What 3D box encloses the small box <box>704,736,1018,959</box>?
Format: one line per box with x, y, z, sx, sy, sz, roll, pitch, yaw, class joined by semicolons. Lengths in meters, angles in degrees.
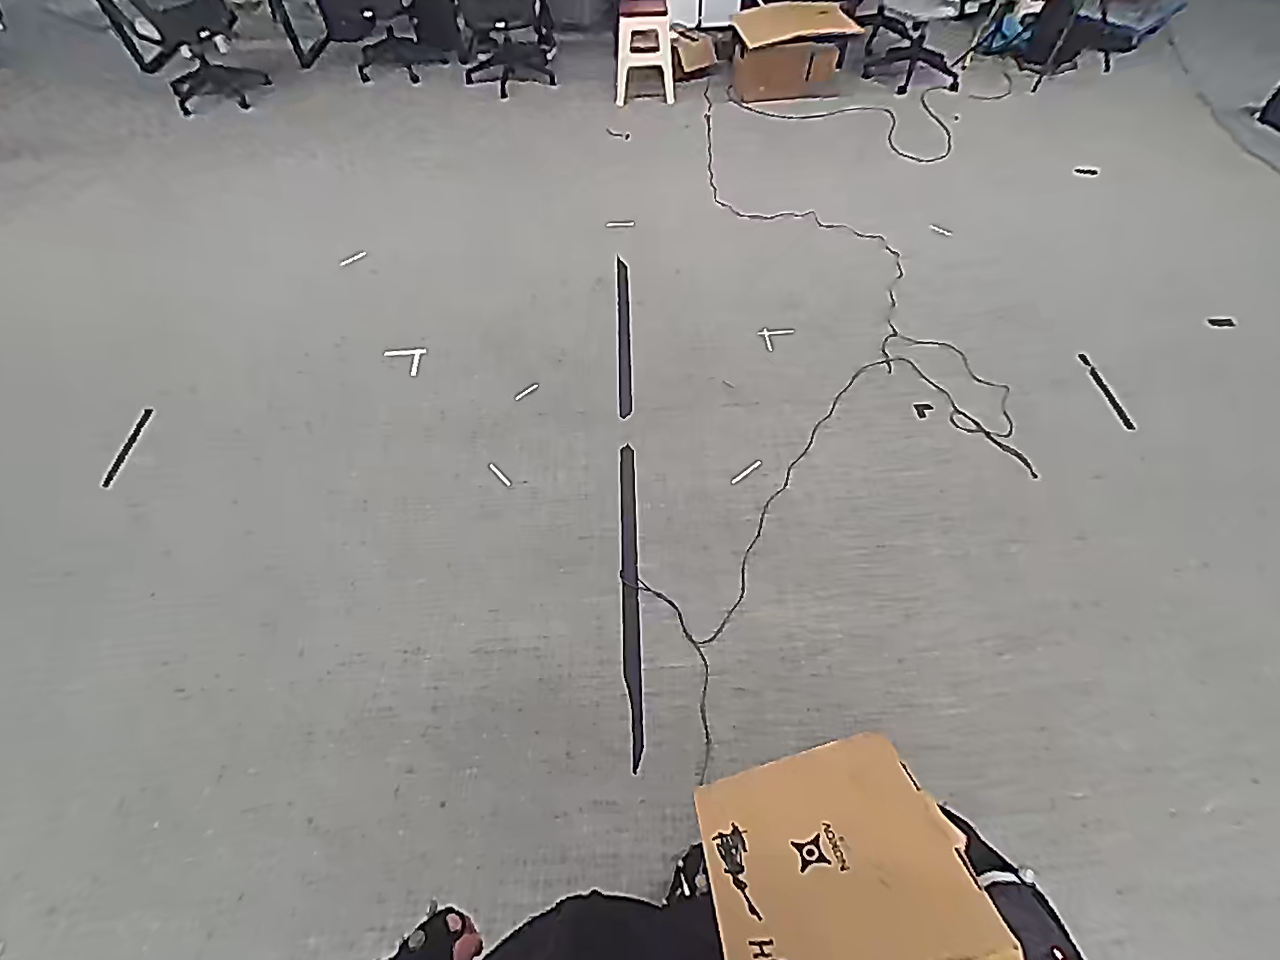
0.166;0.351;0.434;0.179;0.176;0.168;-18;19;3;small box
